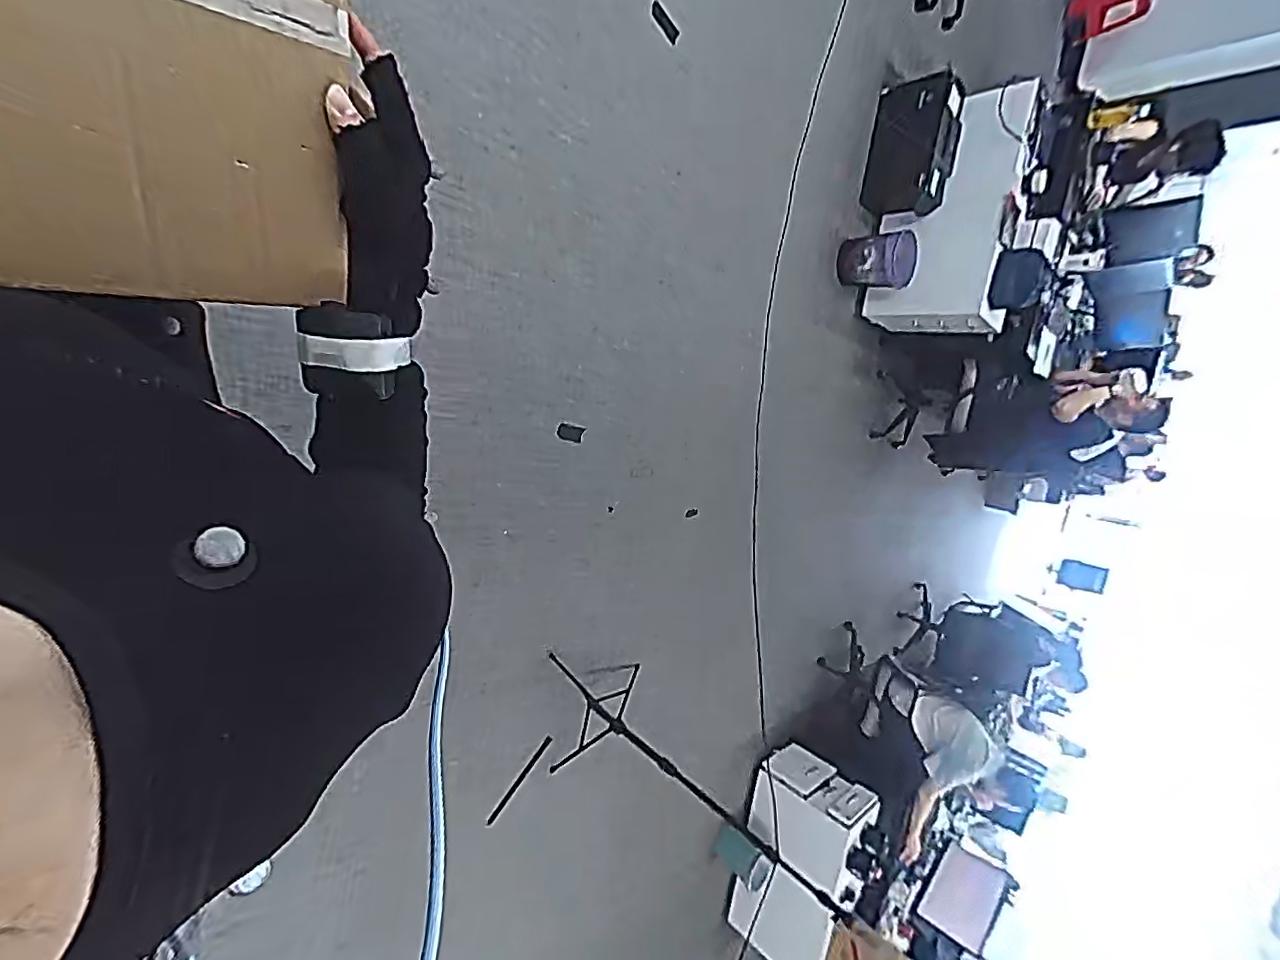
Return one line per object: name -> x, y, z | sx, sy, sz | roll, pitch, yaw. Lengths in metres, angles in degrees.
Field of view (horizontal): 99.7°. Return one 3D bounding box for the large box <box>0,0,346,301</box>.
large box -> -0.417, -0.303, 0.278 | 0.408, 0.320, 0.320 | -11, 130, -42
